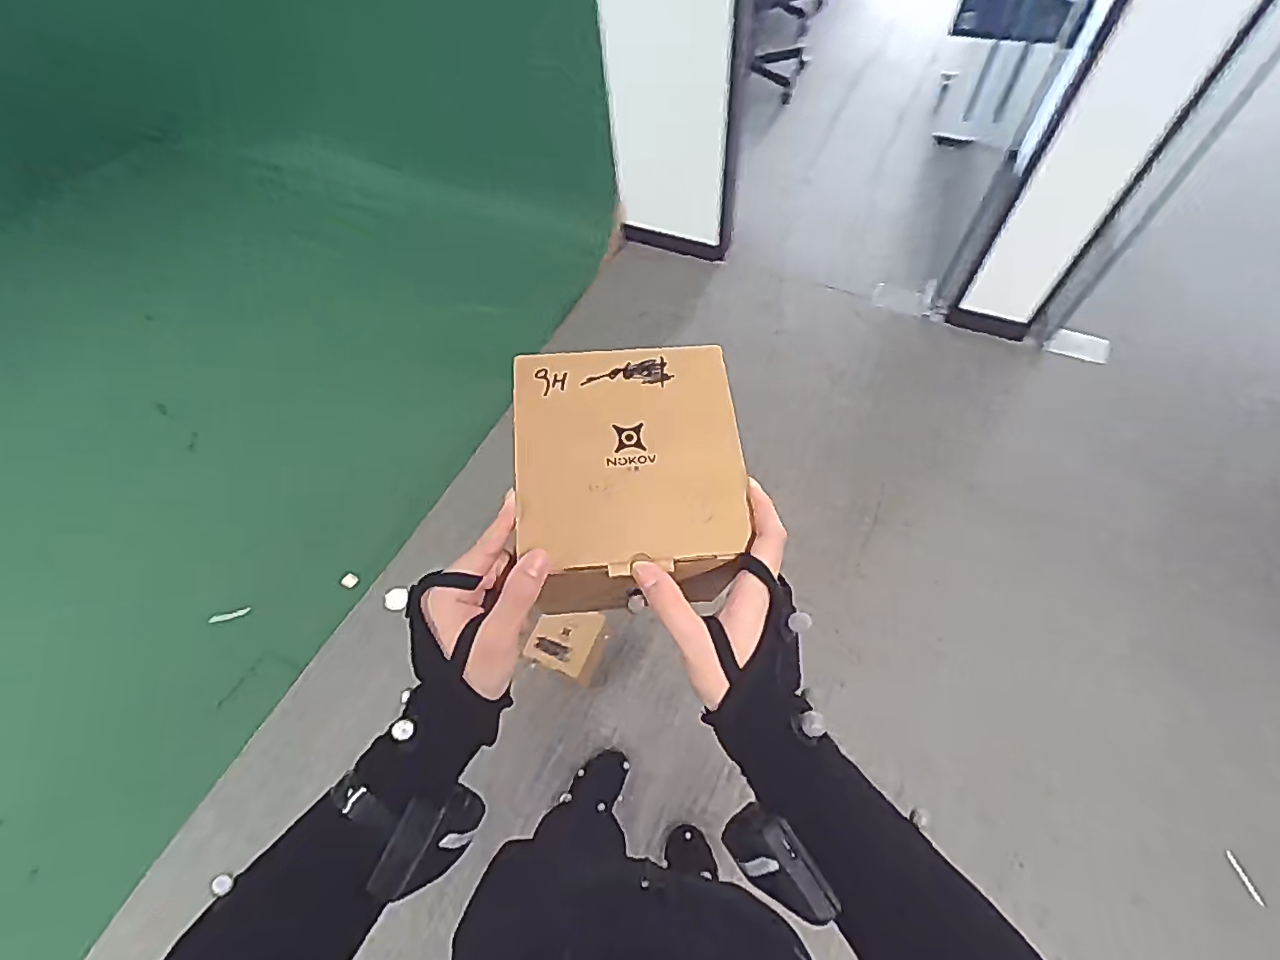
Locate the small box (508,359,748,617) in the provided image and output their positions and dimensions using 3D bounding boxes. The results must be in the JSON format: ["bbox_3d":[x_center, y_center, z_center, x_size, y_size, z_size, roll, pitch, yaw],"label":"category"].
[{"bbox_3d":[-0.016,0.019,0.470,0.168,0.176,0.179,-5,68,-5],"label":"small box"}]
